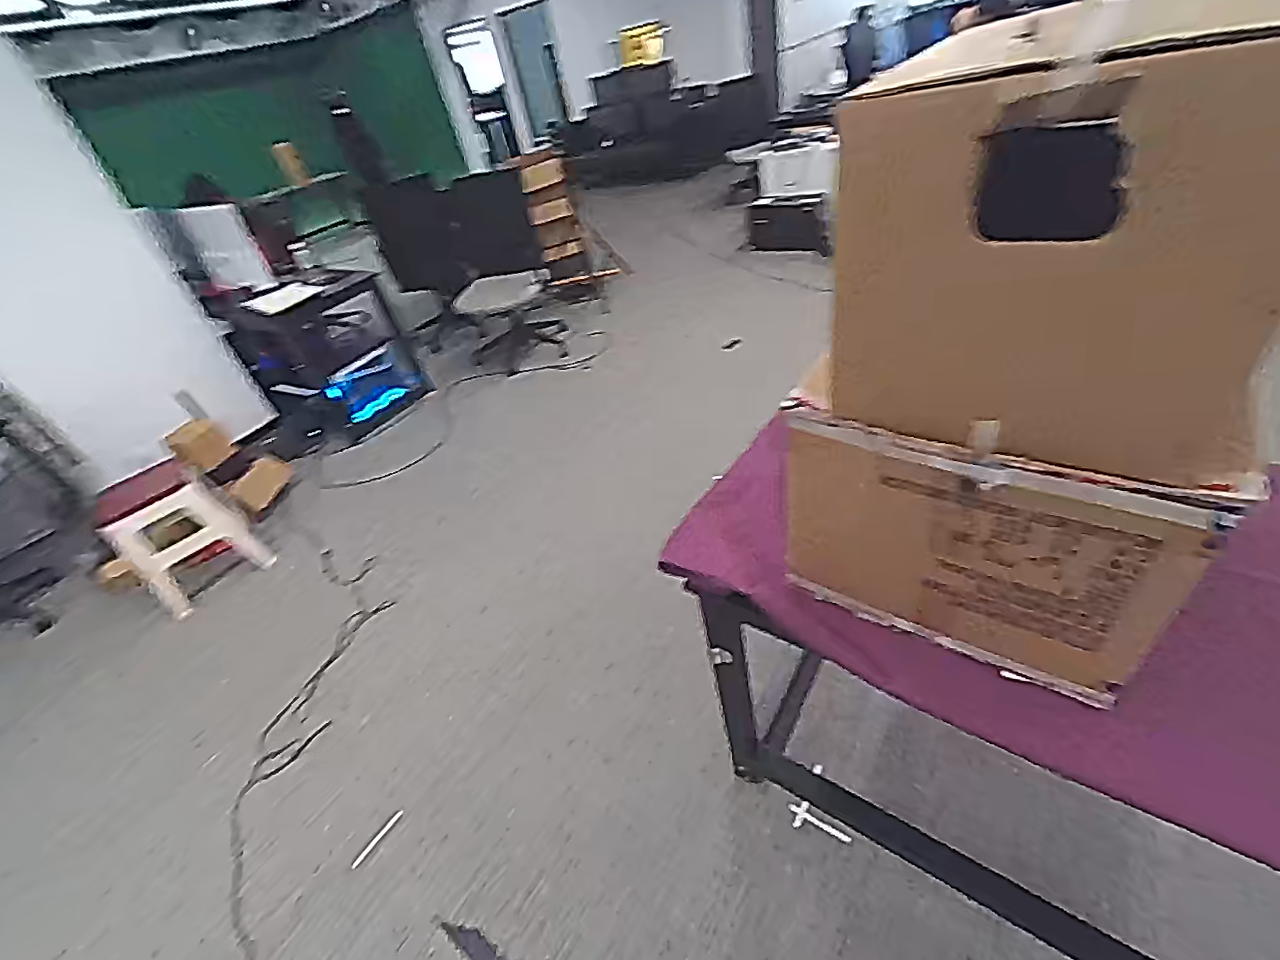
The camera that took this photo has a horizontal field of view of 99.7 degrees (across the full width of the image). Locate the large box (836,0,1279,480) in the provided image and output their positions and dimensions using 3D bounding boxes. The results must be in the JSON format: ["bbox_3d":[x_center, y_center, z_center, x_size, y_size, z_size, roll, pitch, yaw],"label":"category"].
[{"bbox_3d":[0.419,-0.264,0.548,0.320,0.320,0.408,15,47,33],"label":"large box"}]
